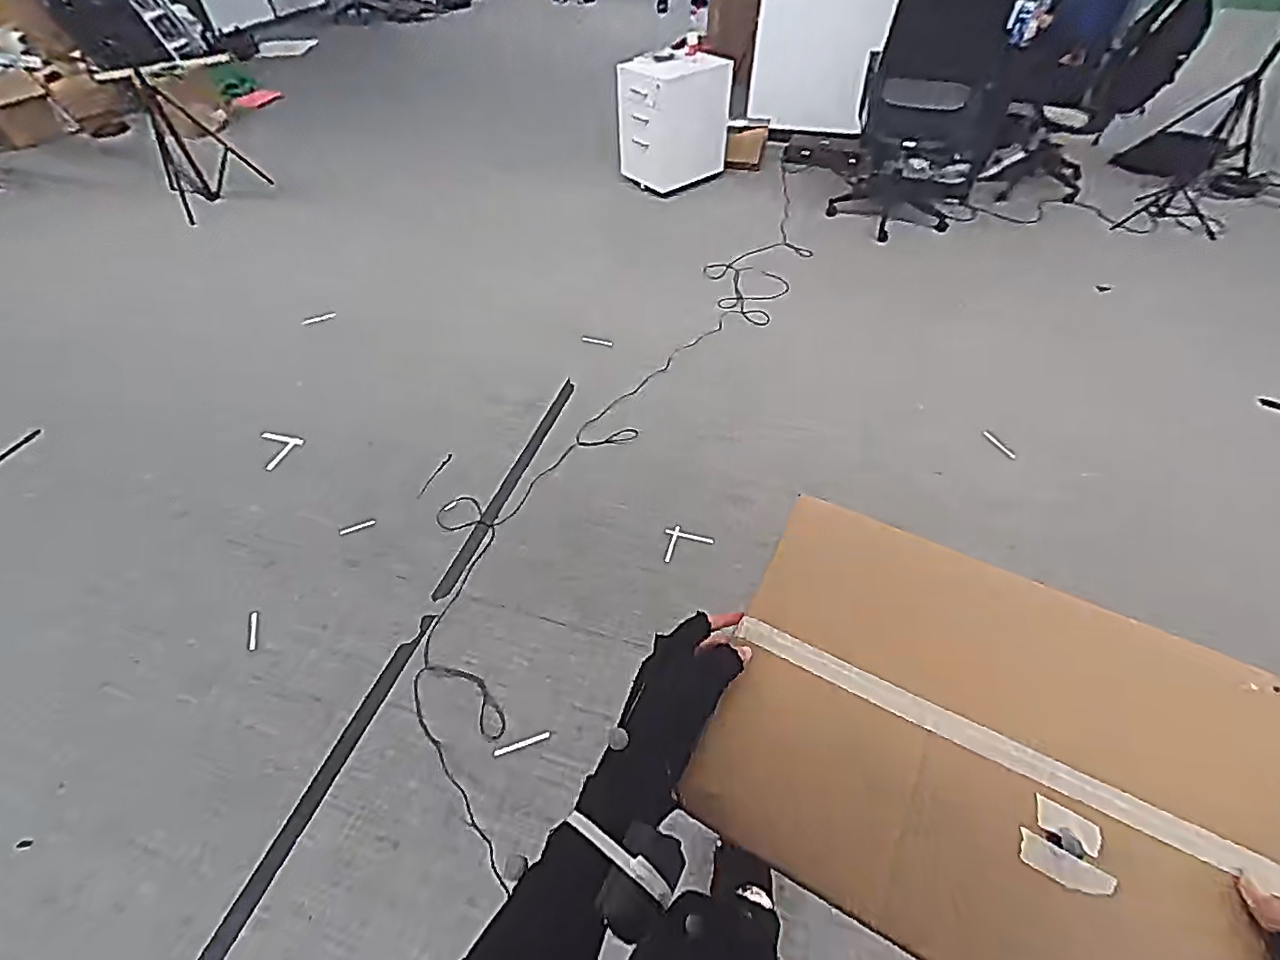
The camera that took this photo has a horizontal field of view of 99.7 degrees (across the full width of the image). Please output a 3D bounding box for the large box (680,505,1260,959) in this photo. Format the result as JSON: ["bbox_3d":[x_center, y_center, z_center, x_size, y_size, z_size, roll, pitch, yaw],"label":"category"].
[{"bbox_3d":[0.285,0.288,0.582,0.408,0.320,0.320,23,65,18],"label":"large box"}]
